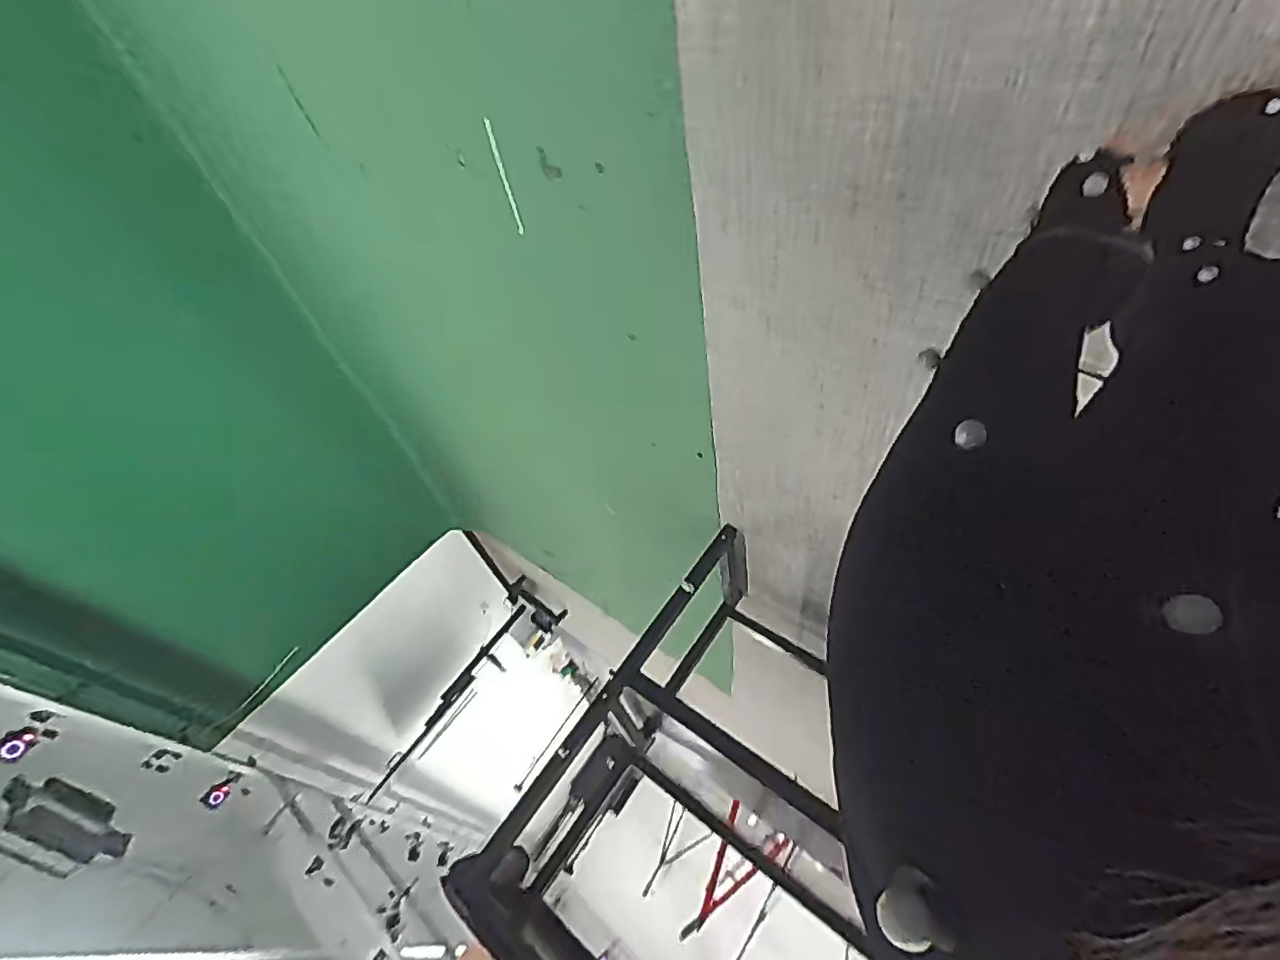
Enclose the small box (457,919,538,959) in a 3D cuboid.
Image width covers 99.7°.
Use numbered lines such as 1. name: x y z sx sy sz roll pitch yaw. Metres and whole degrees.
1. small box: -0.407 1.370 1.508 0.168 0.176 0.179 28 150 26
